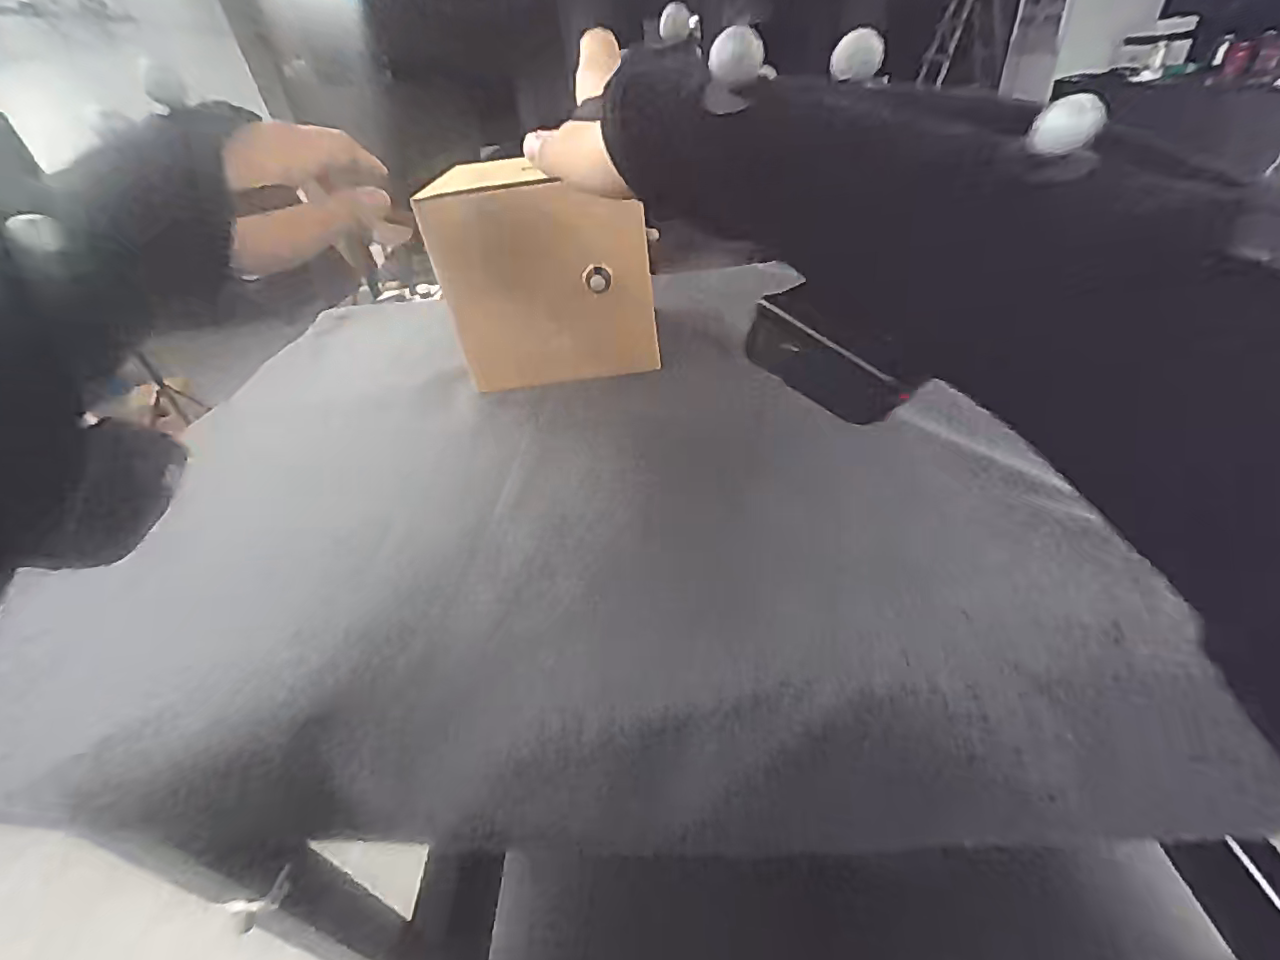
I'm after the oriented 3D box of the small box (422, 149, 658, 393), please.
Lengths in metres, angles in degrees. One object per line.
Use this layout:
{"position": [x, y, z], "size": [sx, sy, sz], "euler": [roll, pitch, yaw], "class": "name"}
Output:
{"position": [-0.075, -0.200, 0.517], "size": [0.179, 0.176, 0.168], "euler": [-6, 37, 1], "class": "small box"}
